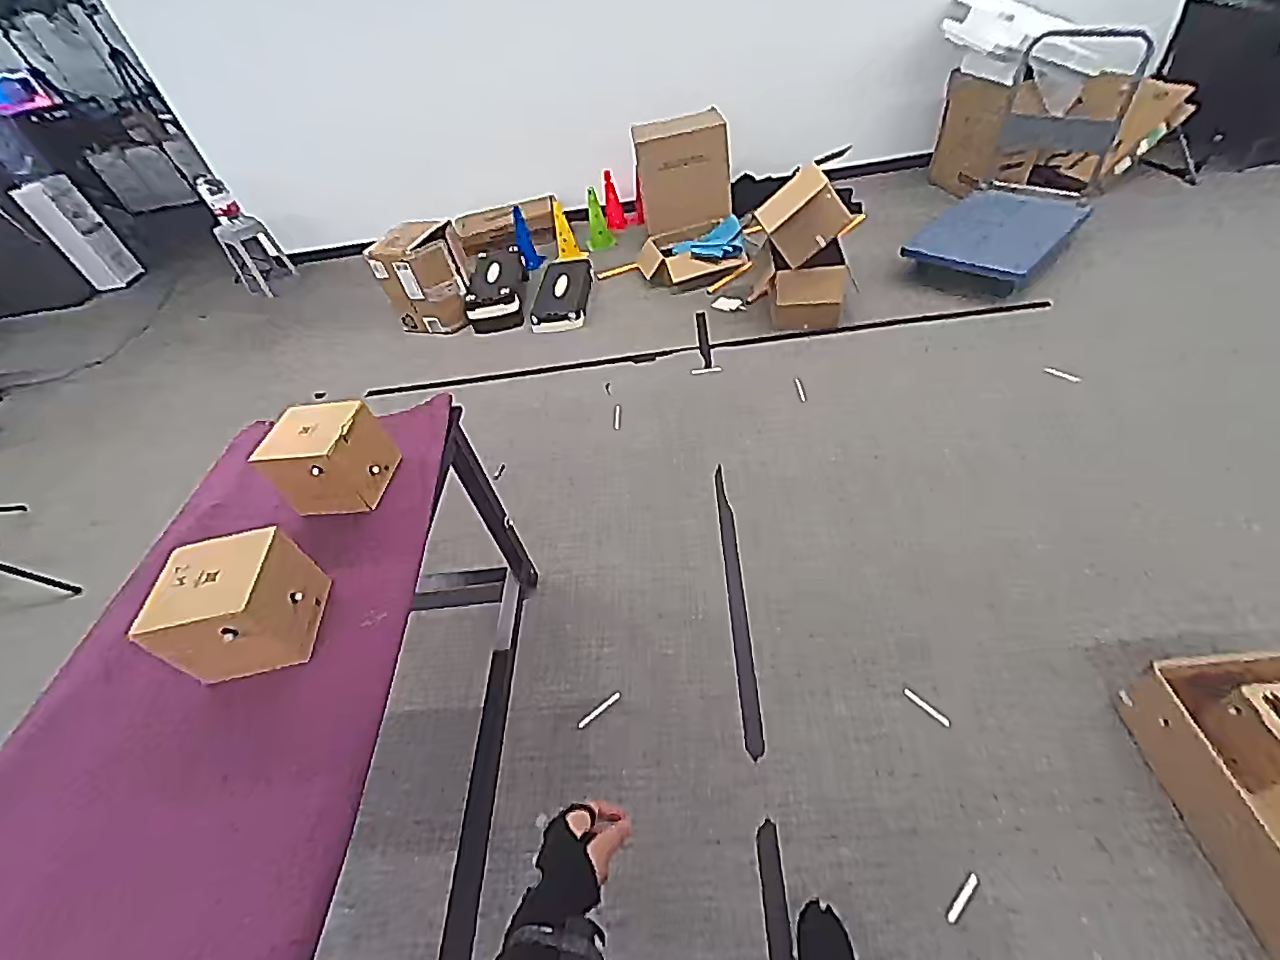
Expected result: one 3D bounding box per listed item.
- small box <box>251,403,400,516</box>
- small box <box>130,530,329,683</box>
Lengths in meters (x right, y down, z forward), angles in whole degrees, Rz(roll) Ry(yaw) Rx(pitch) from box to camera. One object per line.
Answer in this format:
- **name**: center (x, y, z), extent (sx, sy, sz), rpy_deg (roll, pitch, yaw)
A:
- **small box**: center (-0.644, -0.038, 1.132), extent (0.179, 0.176, 0.168), rpy_deg (-4, 46, 9)
- **small box**: center (-0.654, 0.211, 0.893), extent (0.179, 0.176, 0.168), rpy_deg (-13, 45, 0)
